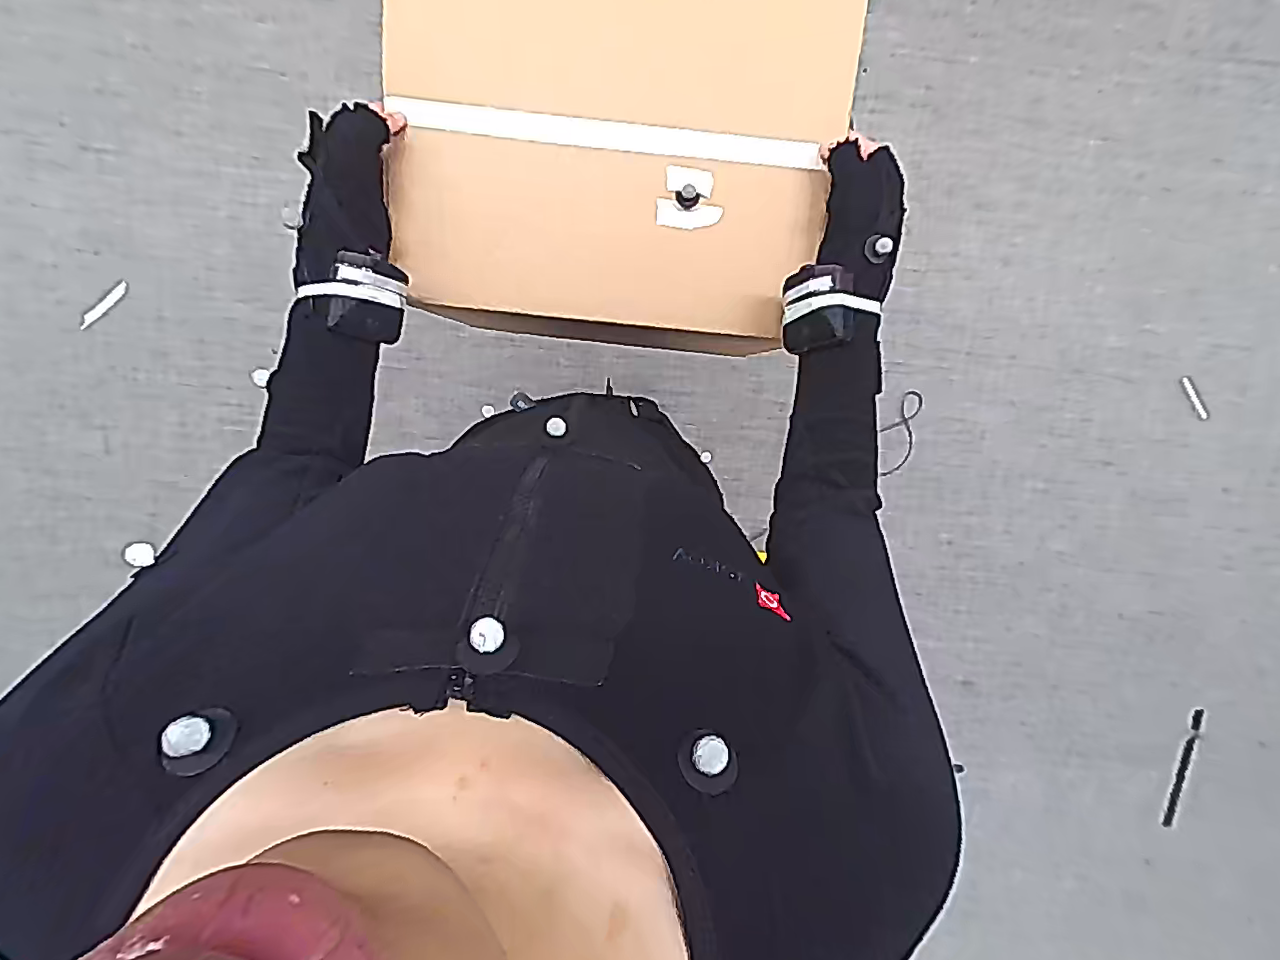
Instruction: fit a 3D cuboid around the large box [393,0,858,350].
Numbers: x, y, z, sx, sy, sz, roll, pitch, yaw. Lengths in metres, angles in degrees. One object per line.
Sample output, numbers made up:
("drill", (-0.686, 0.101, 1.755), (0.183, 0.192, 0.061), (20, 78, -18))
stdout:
("large box", (-0.025, -0.332, 0.627), (0.408, 0.320, 0.320), (5, 101, -3))
